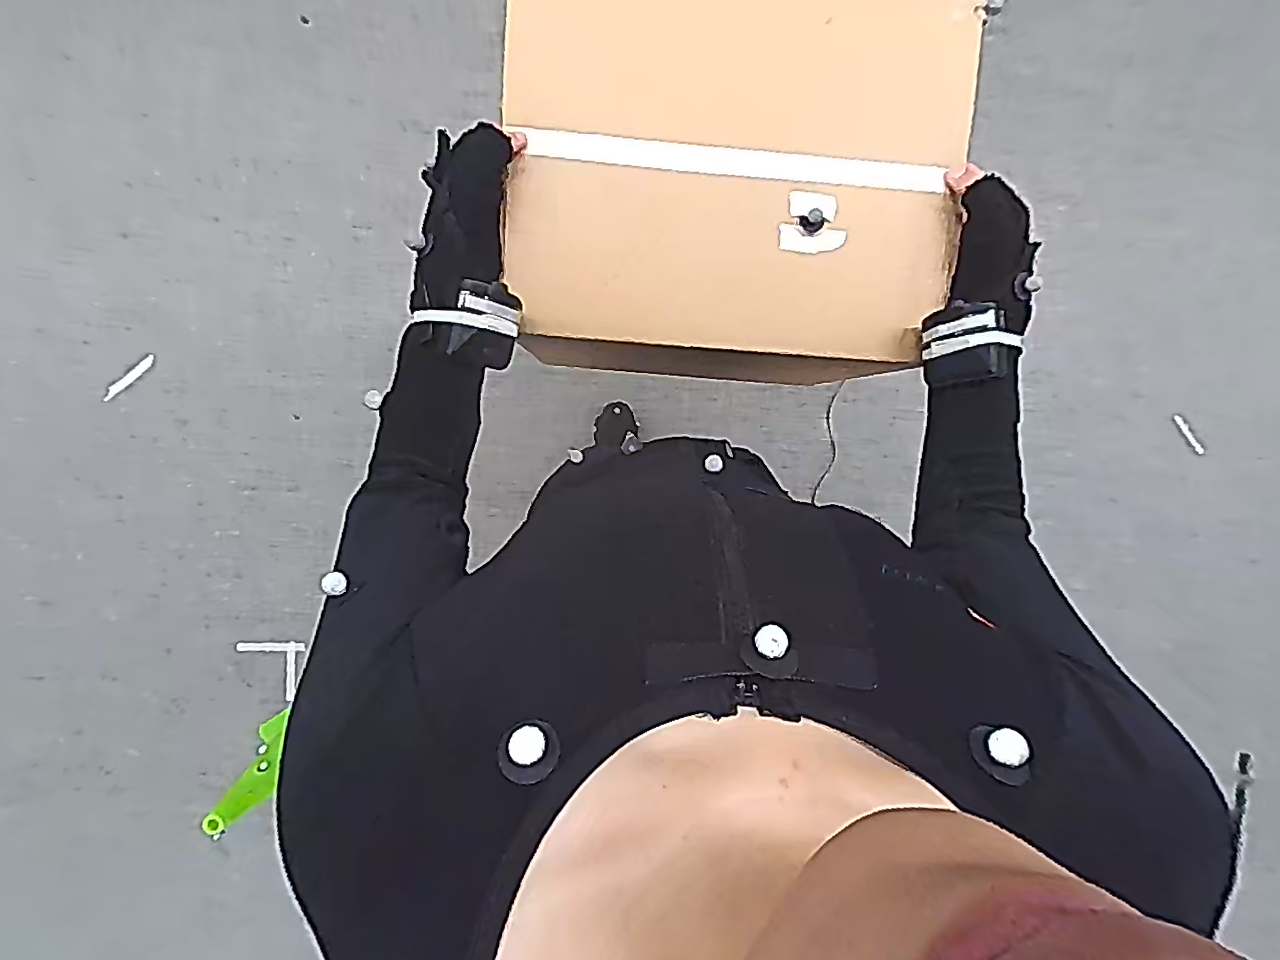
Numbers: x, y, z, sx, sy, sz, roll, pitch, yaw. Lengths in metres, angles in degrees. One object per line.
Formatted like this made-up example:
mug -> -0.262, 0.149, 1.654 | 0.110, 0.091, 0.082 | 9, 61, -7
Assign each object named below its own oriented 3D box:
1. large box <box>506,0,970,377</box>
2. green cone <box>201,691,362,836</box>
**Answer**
large box -> 0.073, -0.295, 0.621 | 0.408, 0.320, 0.320 | 3, 97, -5
green cone -> -0.861, 0.686, 1.261 | 0.202, 0.368, 0.200 | -34, 92, 0
